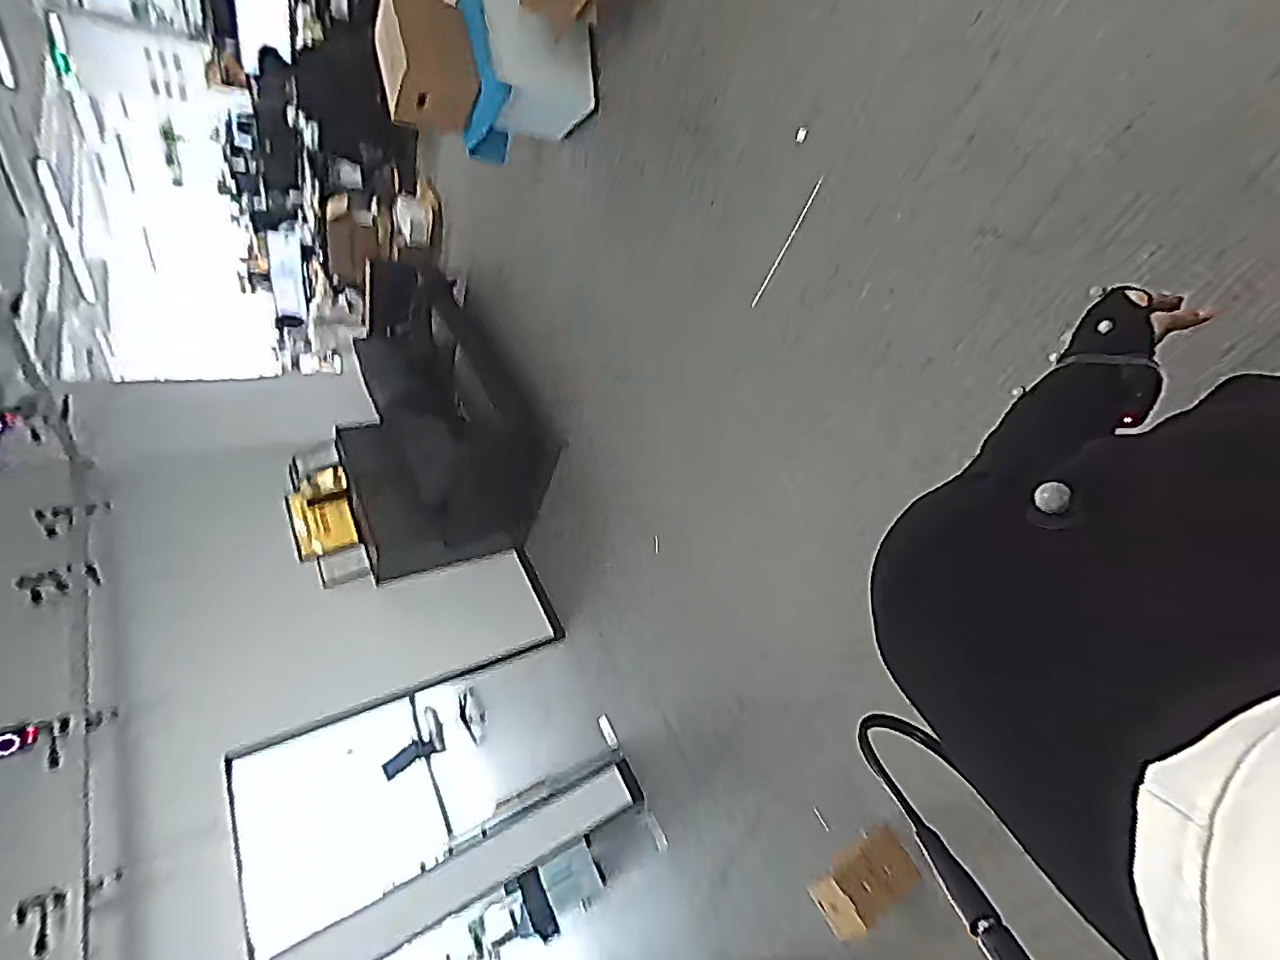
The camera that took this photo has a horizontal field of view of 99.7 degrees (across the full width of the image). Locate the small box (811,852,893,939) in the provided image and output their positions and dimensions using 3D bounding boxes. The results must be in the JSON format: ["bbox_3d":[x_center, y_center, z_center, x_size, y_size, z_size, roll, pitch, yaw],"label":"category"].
[{"bbox_3d":[0.734,1.425,1.860,0.168,0.176,0.179,55,138,32],"label":"small box"}]

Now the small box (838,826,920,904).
[{"bbox_3d":[0.865,1.397,1.955,0.179,0.176,0.168,58,140,30],"label":"small box"}]
